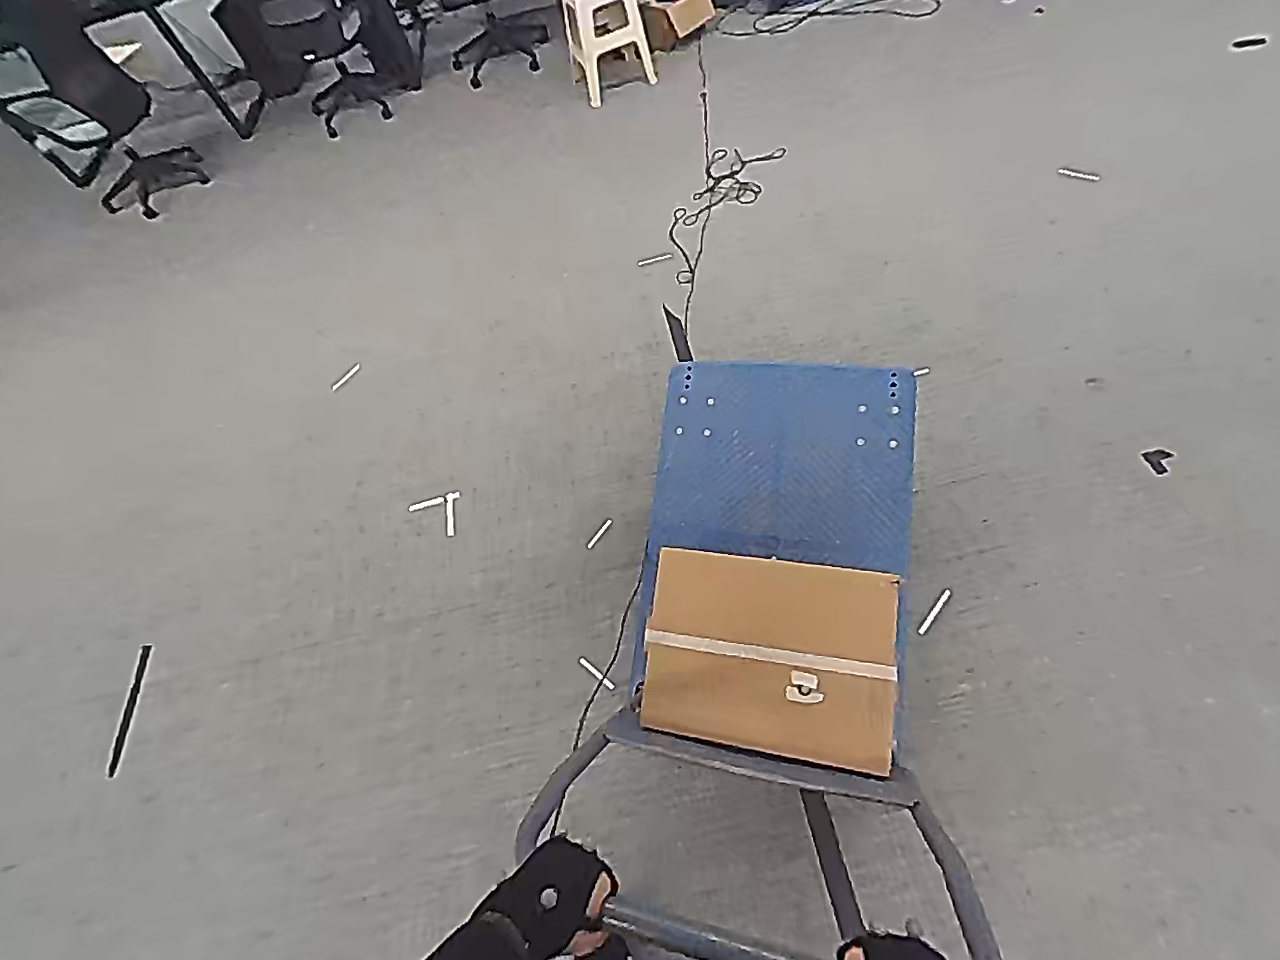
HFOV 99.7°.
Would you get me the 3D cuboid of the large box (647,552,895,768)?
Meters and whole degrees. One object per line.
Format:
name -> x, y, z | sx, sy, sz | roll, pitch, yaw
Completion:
large box -> 0.250, 0.326, 1.068 | 0.408, 0.320, 0.320 | 5, 80, 14
